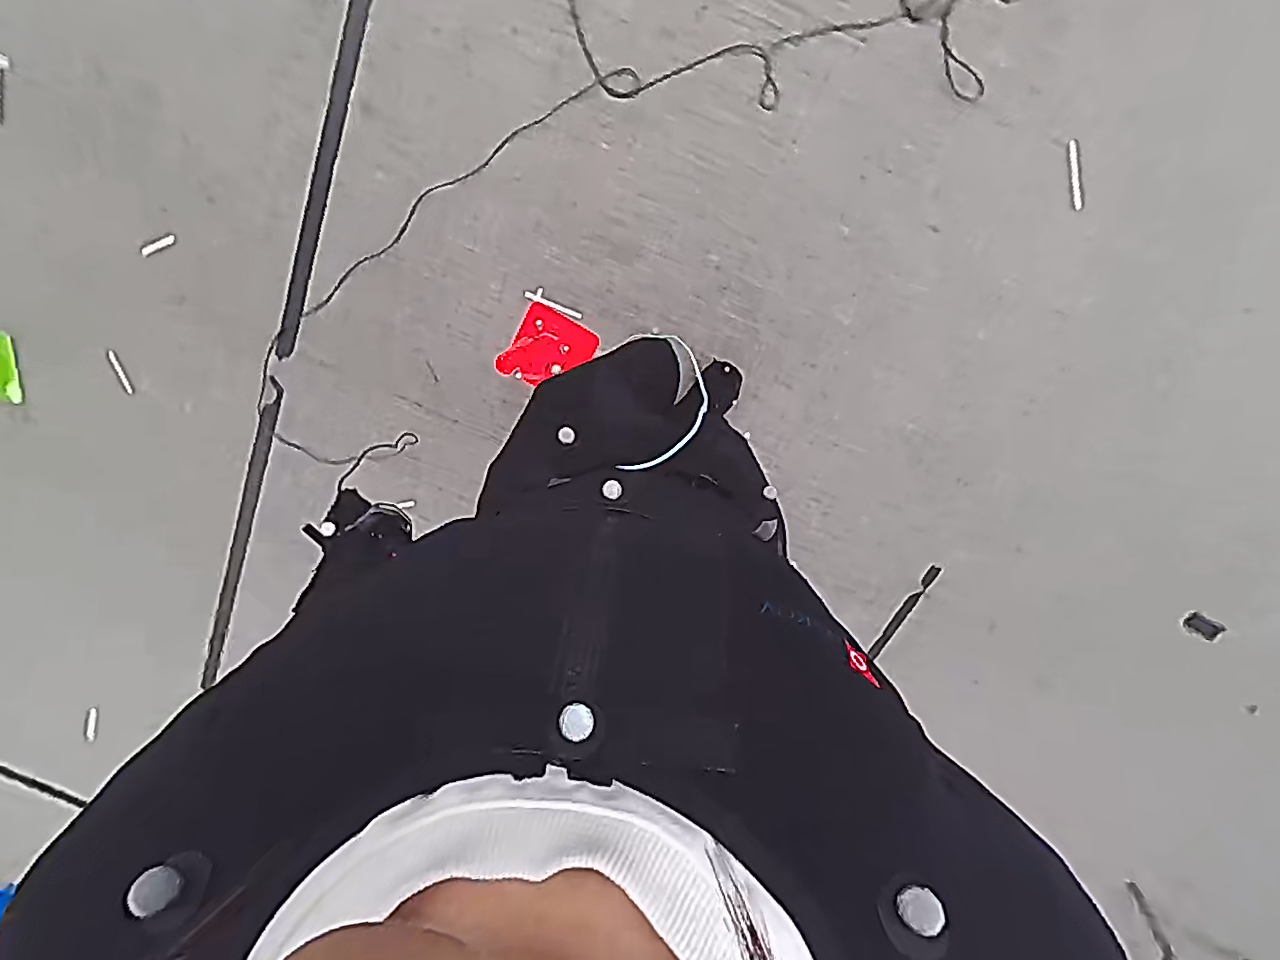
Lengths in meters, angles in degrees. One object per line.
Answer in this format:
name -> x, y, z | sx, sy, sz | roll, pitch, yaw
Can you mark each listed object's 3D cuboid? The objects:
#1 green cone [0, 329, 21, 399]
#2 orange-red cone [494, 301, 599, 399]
green cone -> -1.923, -0.301, 1.411 | 0.200, 0.368, 0.202 | 9, 106, 3
orange-red cone -> -0.246, -0.279, 1.221 | 0.198, 0.360, 0.199 | 32, 109, -3
